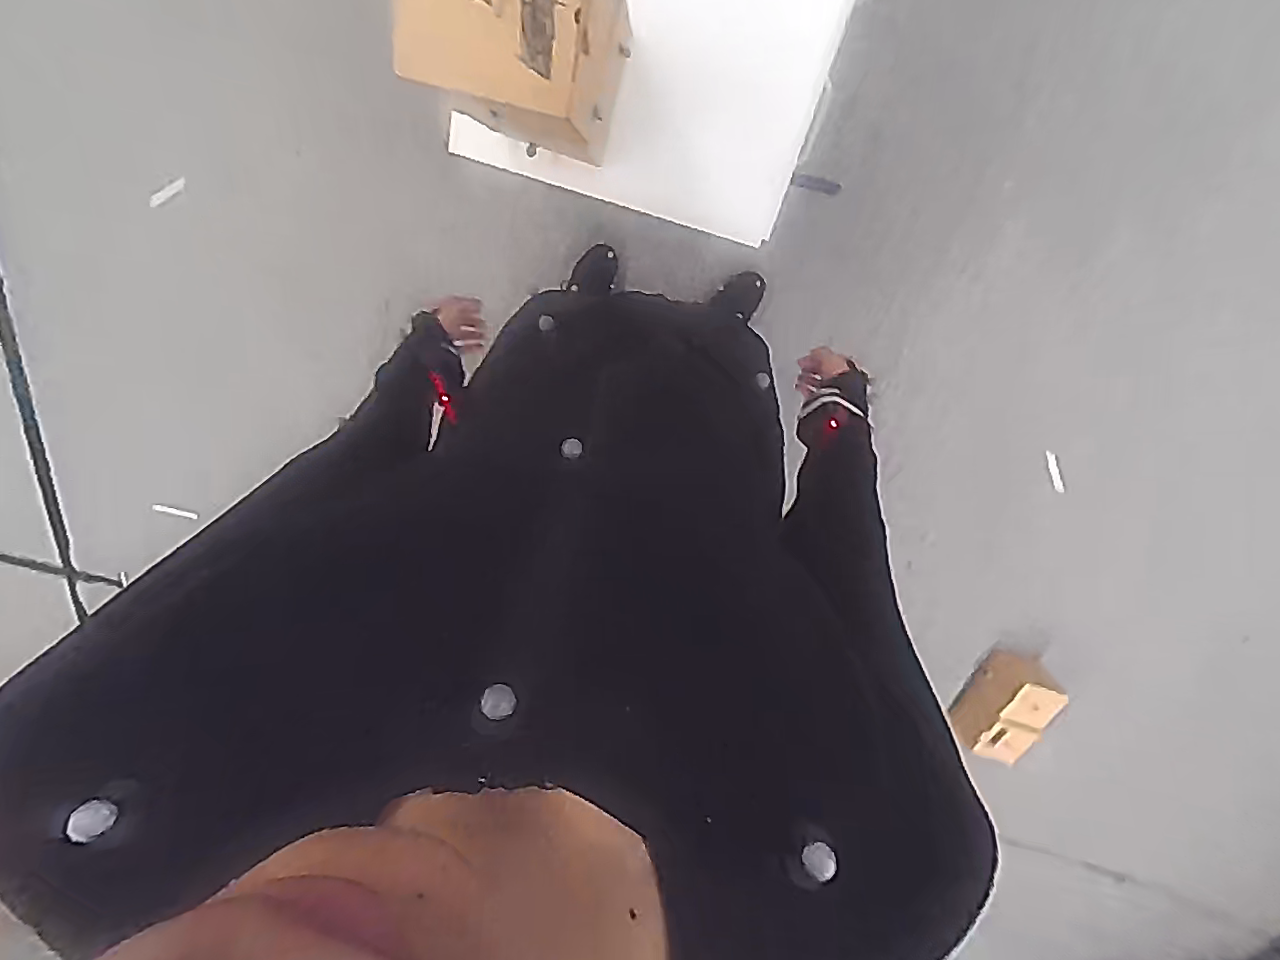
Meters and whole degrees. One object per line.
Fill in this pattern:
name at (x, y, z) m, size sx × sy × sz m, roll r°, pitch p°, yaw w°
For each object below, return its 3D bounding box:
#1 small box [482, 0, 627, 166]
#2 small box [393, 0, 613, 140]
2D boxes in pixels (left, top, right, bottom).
small box at (-0.117, -0.541, 0.711) m, size 0.168 × 0.176 × 0.179 m, roll 16°, pitch 114°, yaw -4°
small box at (-0.131, -0.473, 0.562) m, size 0.179 × 0.176 × 0.168 m, roll 13°, pitch 114°, yaw -1°
